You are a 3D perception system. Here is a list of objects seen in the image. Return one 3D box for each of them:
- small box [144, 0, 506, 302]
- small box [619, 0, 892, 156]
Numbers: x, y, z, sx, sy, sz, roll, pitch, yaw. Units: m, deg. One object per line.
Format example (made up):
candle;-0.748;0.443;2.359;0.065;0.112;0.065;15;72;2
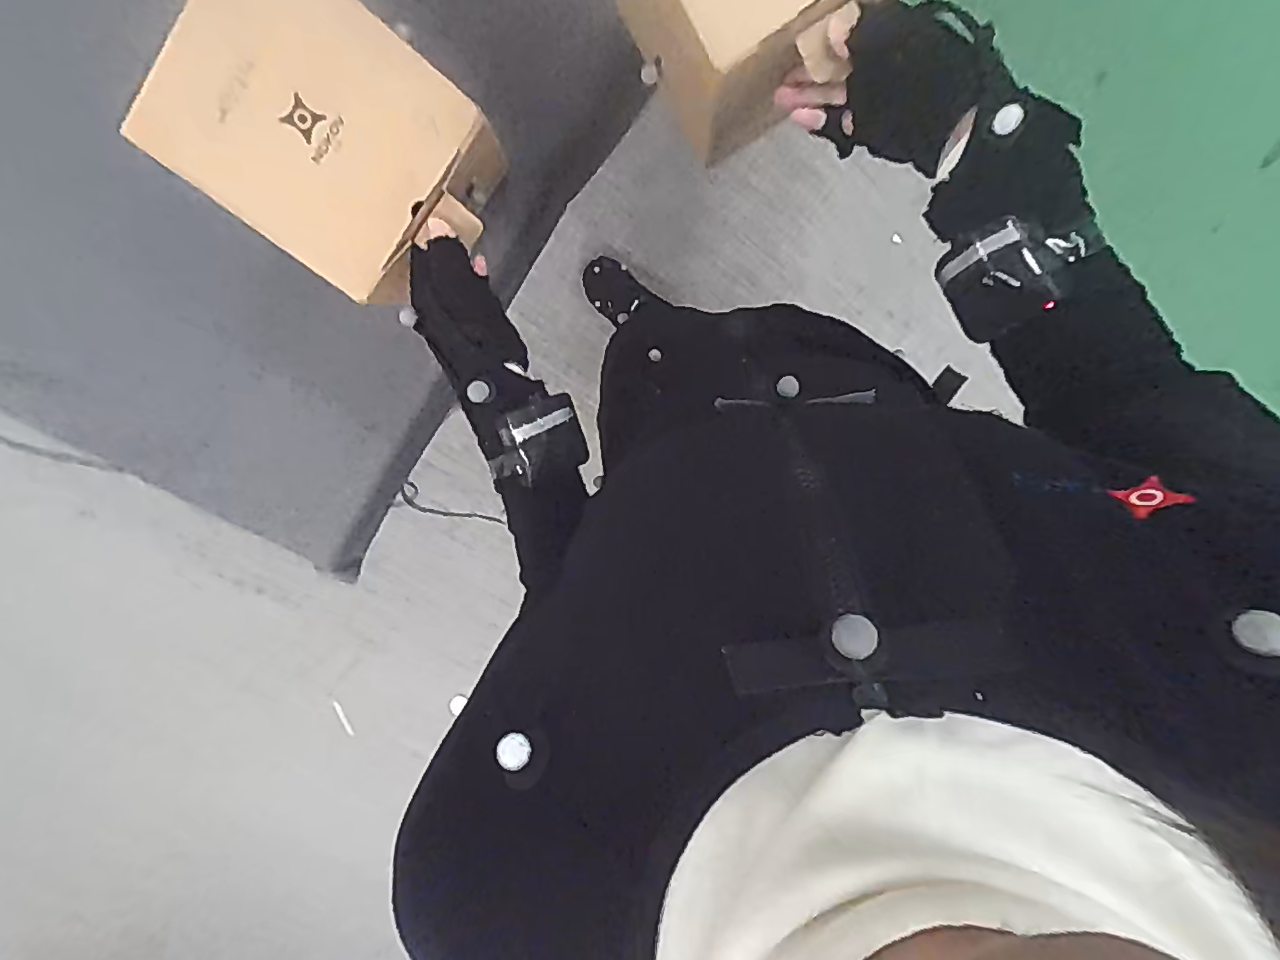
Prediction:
small box;-0.232;-0.272;0.454;0.179;0.176;0.168;36;100;-17
small box;0.086;-0.394;0.428;0.168;0.176;0.179;-29;97;7
